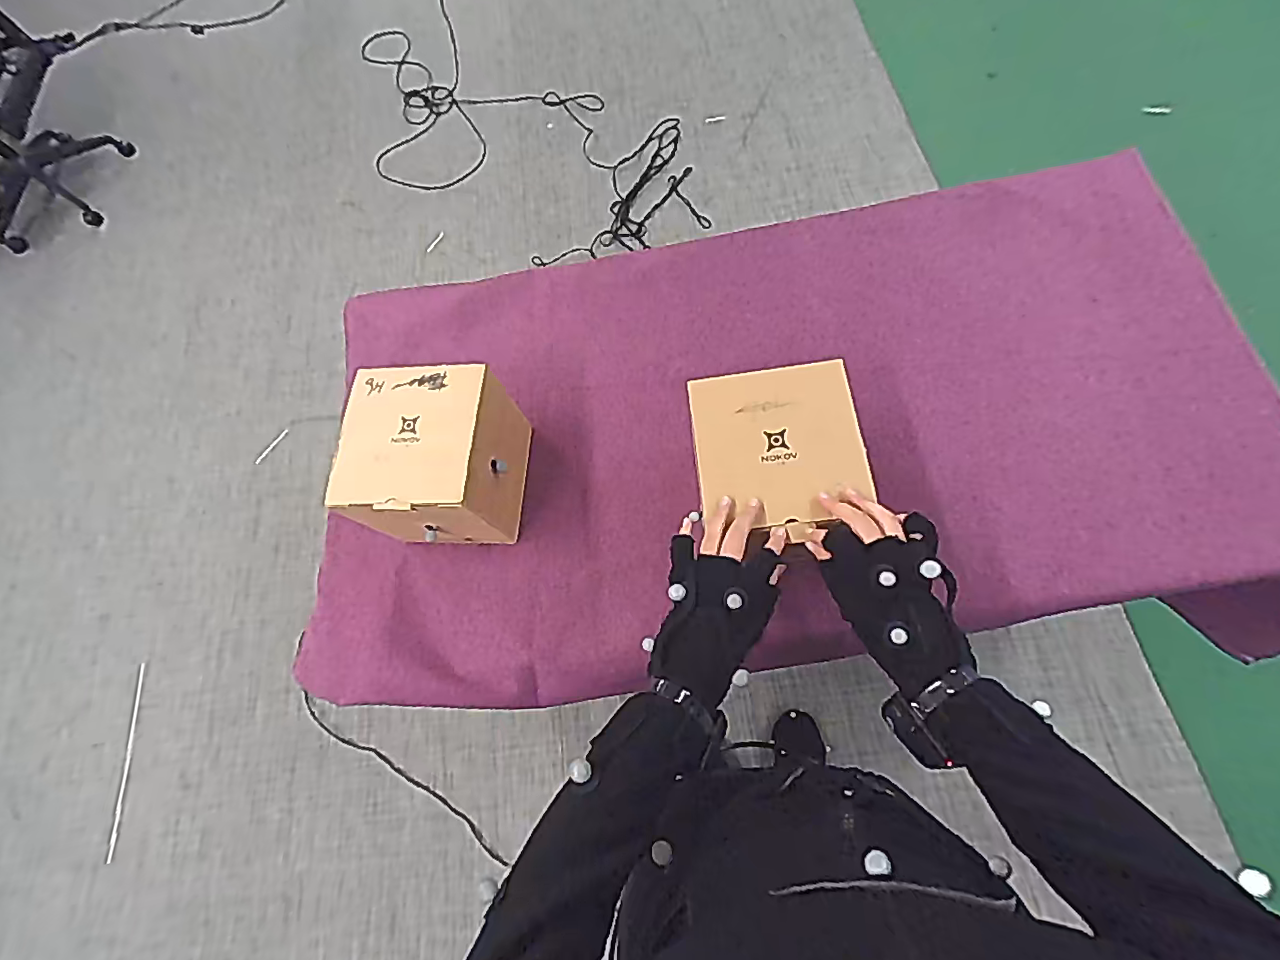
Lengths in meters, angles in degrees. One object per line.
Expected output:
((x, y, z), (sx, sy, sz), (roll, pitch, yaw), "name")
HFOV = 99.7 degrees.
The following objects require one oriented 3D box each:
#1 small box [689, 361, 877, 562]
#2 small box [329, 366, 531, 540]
((0.150, -0.008, 0.618), (0.168, 0.176, 0.179), (-7, 68, 6), "small box")
((-0.248, -0.024, 0.685), (0.168, 0.176, 0.179), (0, 70, 8), "small box")
